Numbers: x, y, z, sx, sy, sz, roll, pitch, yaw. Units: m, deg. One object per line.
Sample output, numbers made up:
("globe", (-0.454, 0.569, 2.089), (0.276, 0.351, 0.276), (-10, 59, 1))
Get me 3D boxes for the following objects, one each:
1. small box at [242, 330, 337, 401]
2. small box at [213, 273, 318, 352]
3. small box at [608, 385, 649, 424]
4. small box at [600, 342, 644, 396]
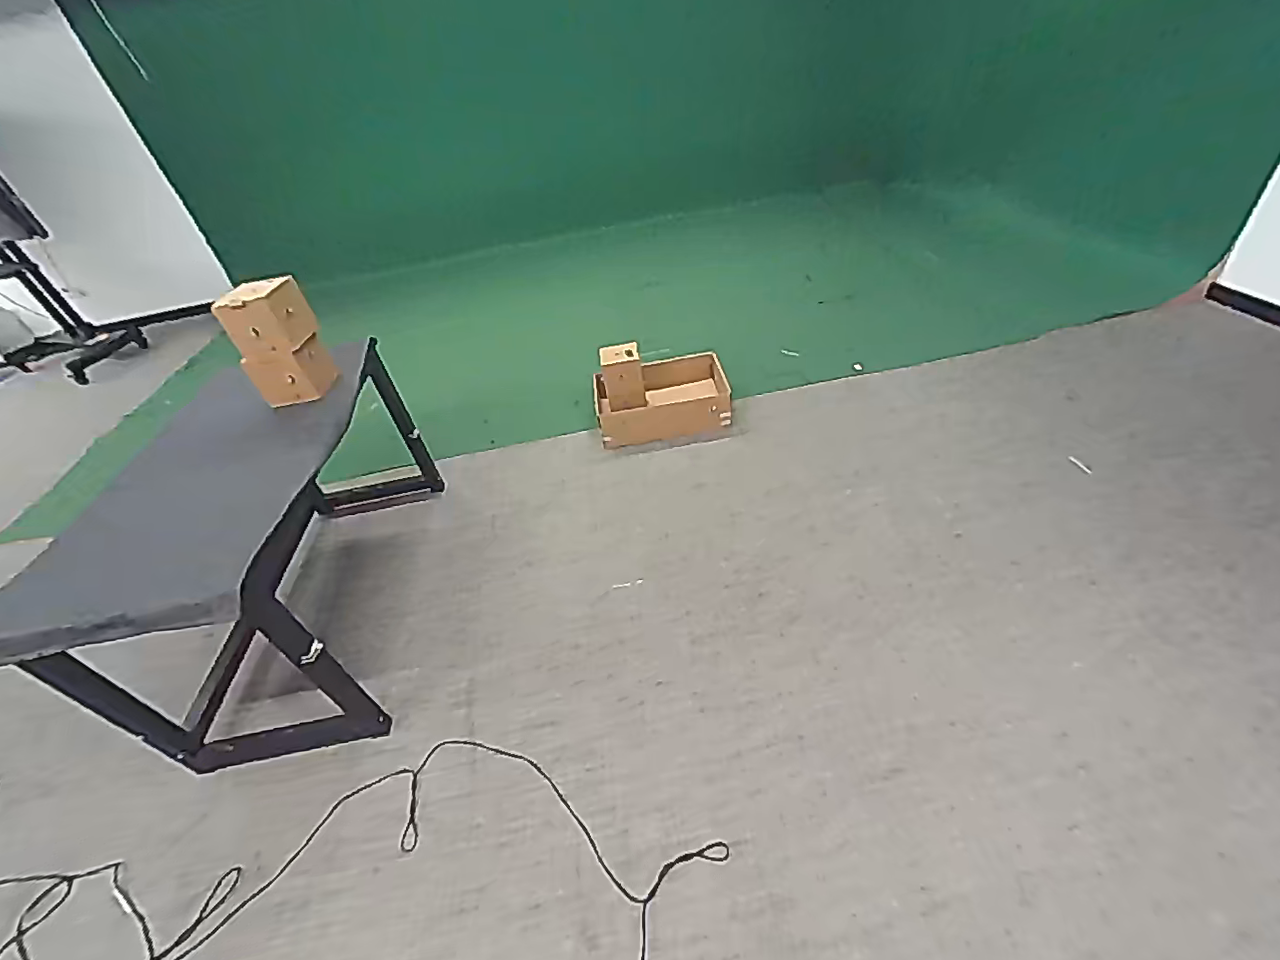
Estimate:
("small box", (-1.105, -0.364, 1.725), (0.168, 0.176, 0.179), (-9, 39, 2))
("small box", (-1.113, -0.497, 1.627), (0.168, 0.176, 0.179), (-7, 41, 4))
("small box", (-0.059, -0.384, 2.570), (0.179, 0.176, 0.168), (-9, 42, -1))
("small box", (-0.080, -0.504, 2.460), (0.179, 0.176, 0.168), (-10, 41, 1))
